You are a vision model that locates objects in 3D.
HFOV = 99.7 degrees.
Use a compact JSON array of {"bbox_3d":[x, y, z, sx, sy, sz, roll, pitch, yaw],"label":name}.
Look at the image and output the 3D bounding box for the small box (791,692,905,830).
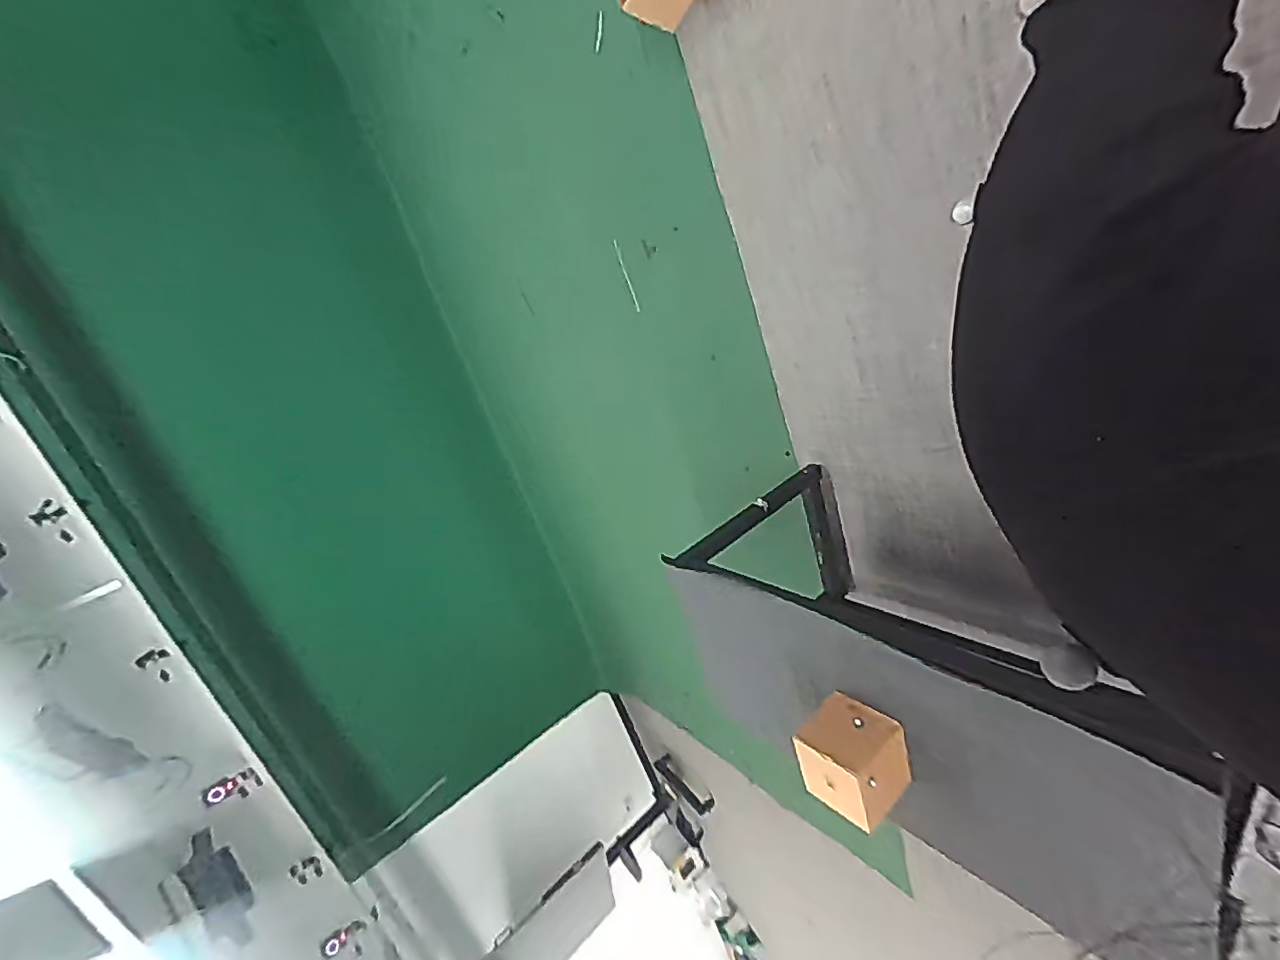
[{"bbox_3d":[0.470,0.620,1.214,0.168,0.176,0.179,12,125,54],"label":"small box"}]
